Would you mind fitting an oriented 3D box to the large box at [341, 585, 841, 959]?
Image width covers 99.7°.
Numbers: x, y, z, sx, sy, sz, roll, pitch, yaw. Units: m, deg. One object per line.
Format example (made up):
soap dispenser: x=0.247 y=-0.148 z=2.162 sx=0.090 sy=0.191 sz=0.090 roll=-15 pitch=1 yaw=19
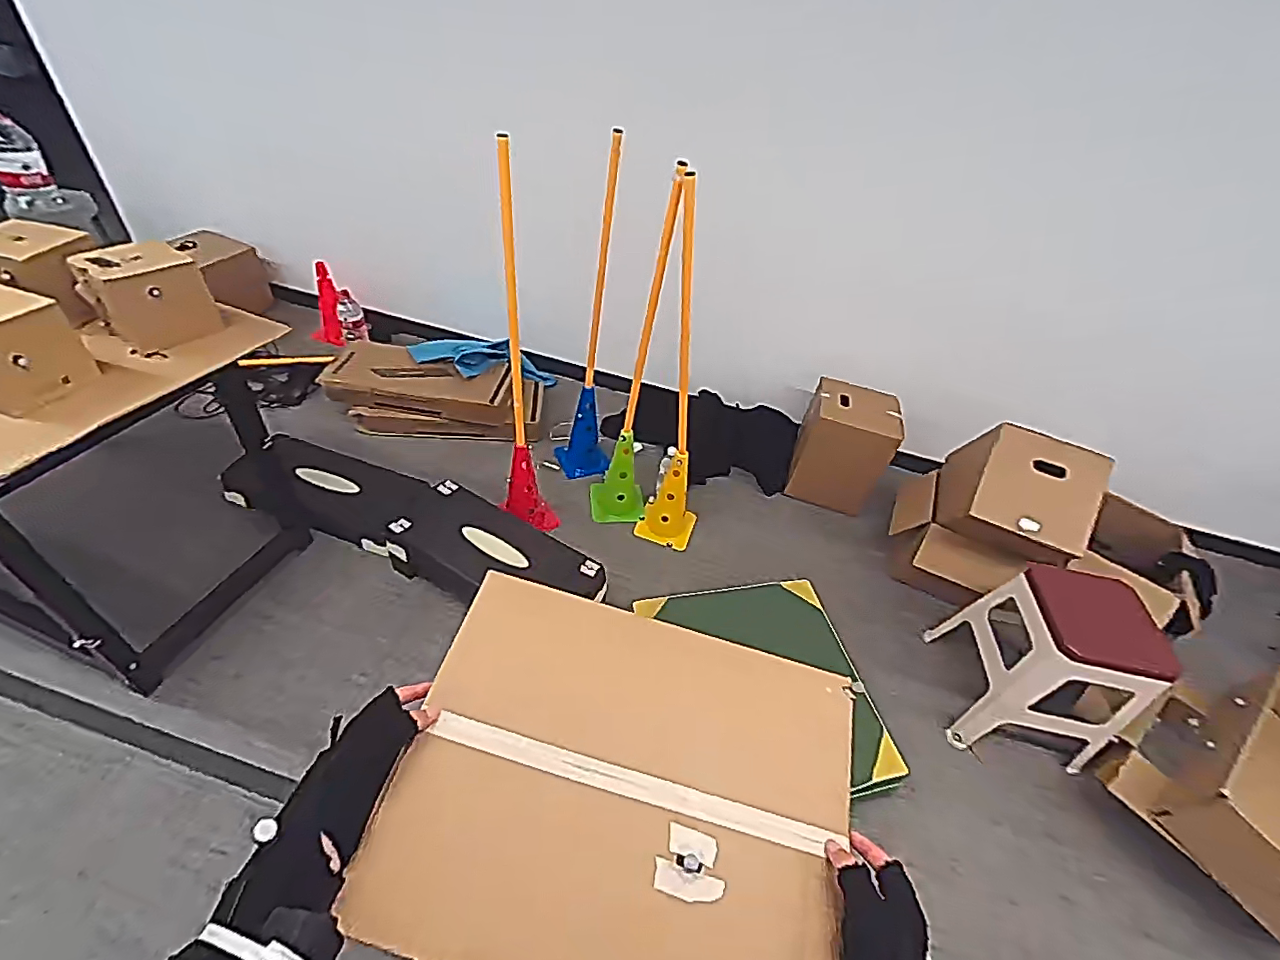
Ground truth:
large box: x=-0.031 y=0.371 z=0.621 sx=0.408 sy=0.320 sz=0.320 roll=16 pitch=54 yaw=3
